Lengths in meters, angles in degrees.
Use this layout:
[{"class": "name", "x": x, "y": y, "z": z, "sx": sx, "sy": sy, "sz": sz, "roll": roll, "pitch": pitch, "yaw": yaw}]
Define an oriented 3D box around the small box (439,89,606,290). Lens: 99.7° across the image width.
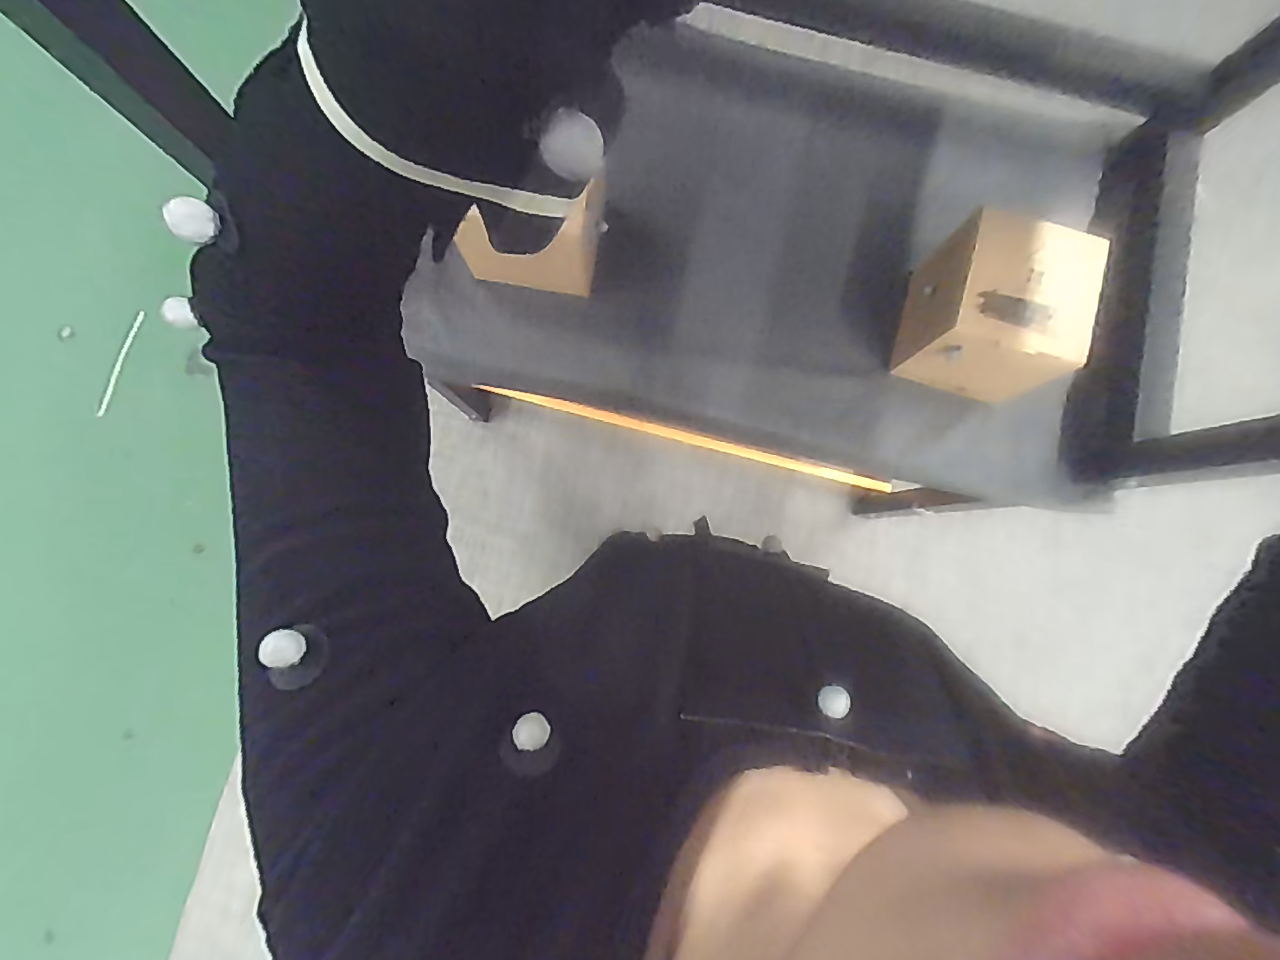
[{"class": "small box", "x": -0.147, "y": -0.382, "z": 0.741, "sx": 0.179, "sy": 0.176, "sz": 0.168, "roll": 10, "pitch": 84, "yaw": -1}]
